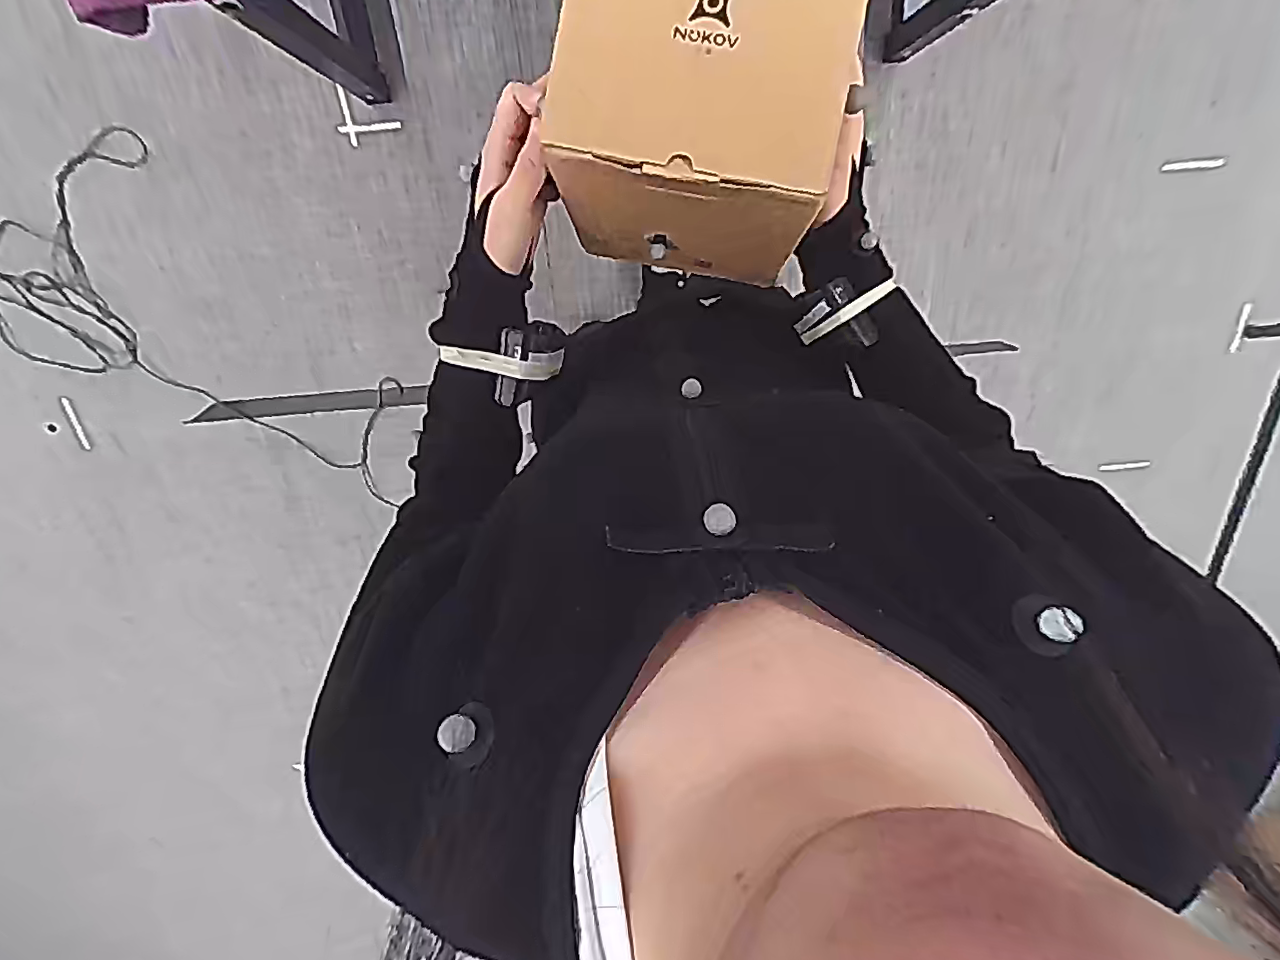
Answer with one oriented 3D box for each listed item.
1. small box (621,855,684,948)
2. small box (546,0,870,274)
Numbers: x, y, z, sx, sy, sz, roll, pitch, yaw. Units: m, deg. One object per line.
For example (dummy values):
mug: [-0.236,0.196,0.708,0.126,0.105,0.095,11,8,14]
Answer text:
small box: [0.037,1.314,1.695,0.179,0.176,0.168,-6,112,0]
small box: [0.045,-0.267,0.376,0.168,0.176,0.179,11,96,2]
